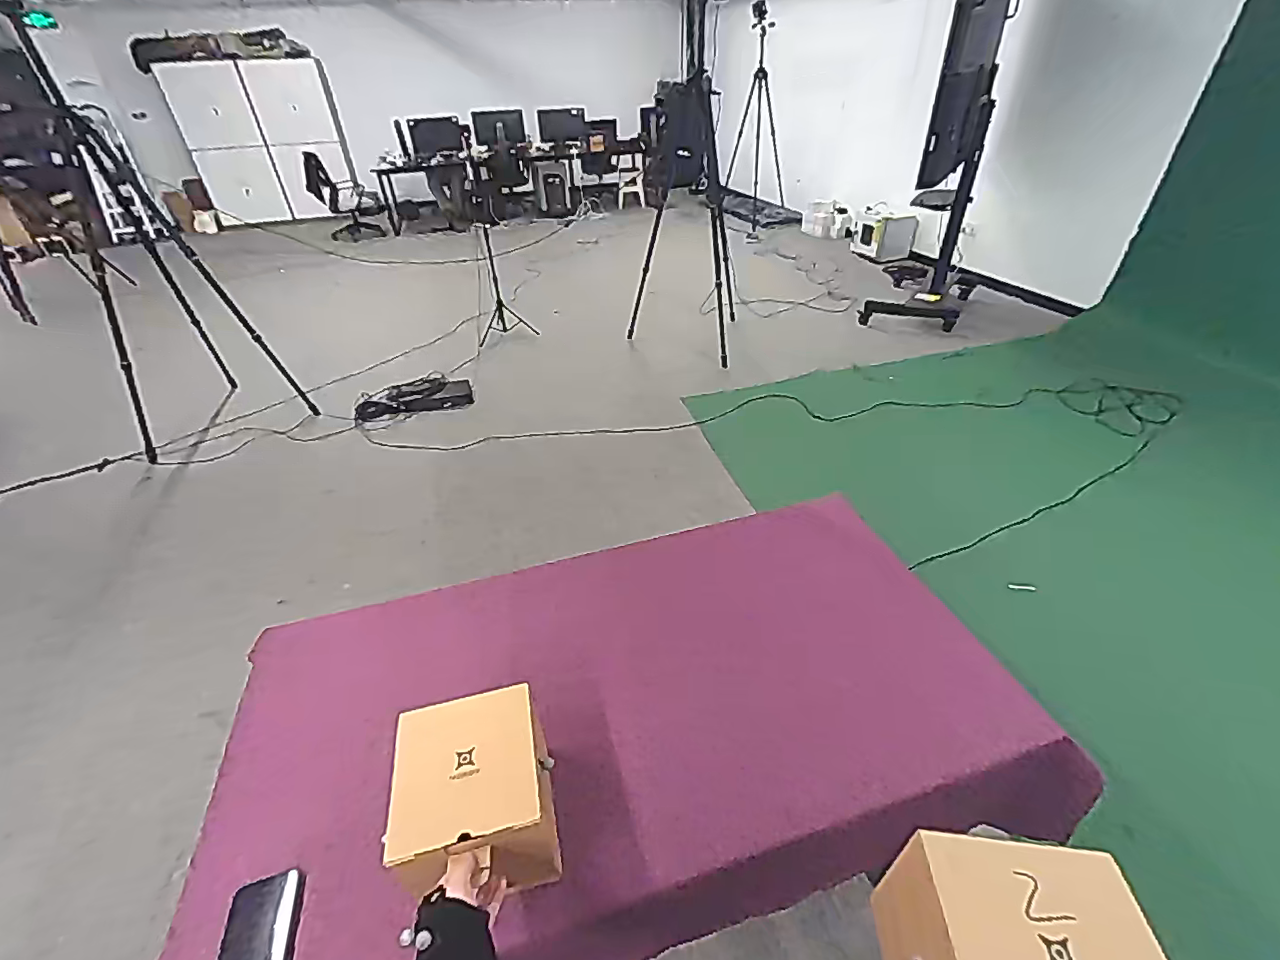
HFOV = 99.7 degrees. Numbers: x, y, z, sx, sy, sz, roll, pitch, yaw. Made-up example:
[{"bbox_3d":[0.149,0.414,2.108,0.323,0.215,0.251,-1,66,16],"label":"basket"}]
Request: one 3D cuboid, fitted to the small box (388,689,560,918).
[{"bbox_3d":[-0.199,0.402,0.681,0.168,0.176,0.179,-10,38,-10],"label":"small box"}]
